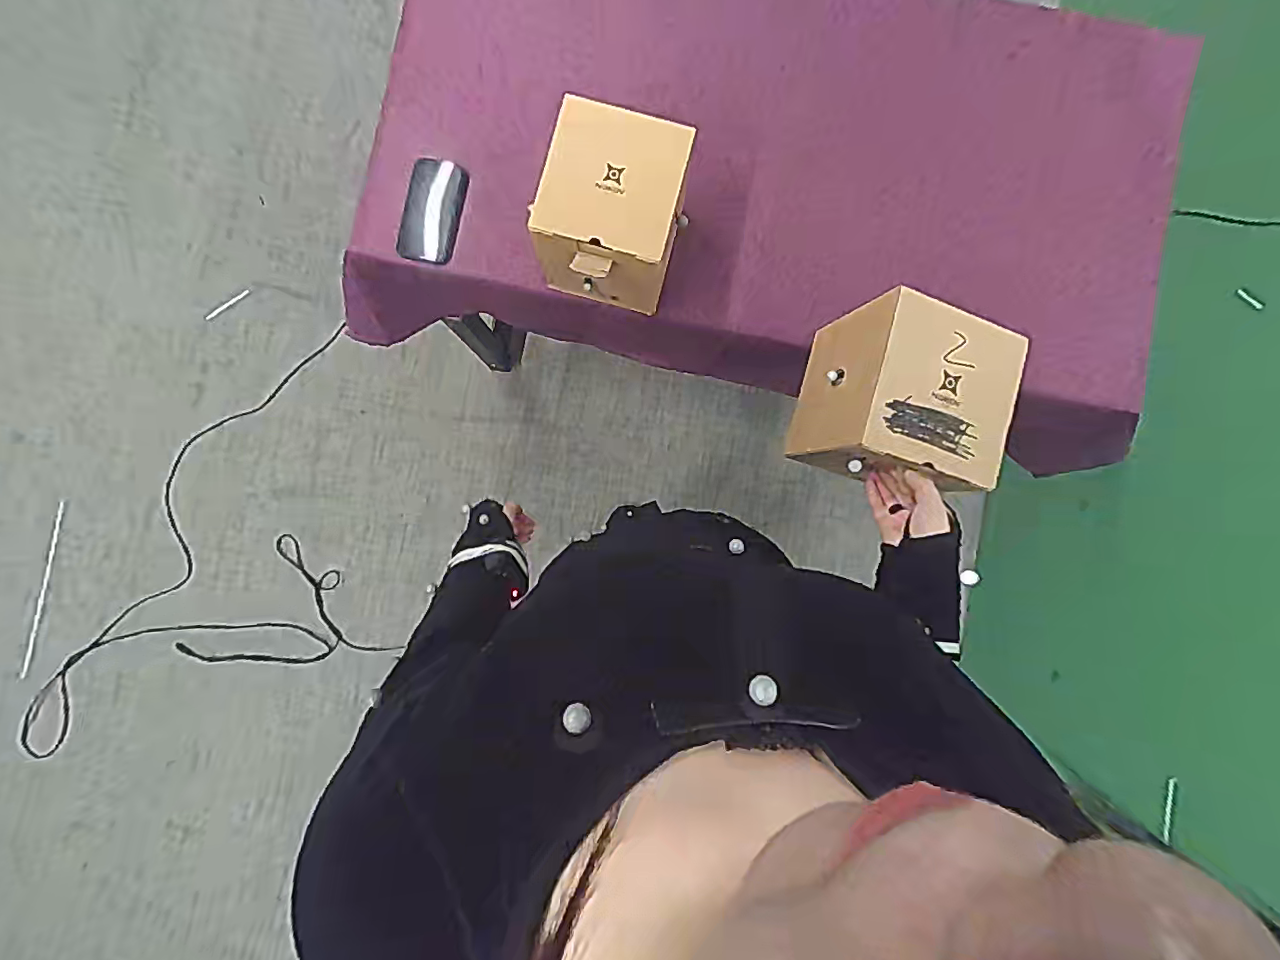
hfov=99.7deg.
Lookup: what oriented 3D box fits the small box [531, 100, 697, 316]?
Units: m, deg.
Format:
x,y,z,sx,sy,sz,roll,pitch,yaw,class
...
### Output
x,y,z,sx,sy,sz,roll,pitch,yaw,class
-0.035,-0.349,0.726,0.168,0.176,0.179,15,86,-1,small box
